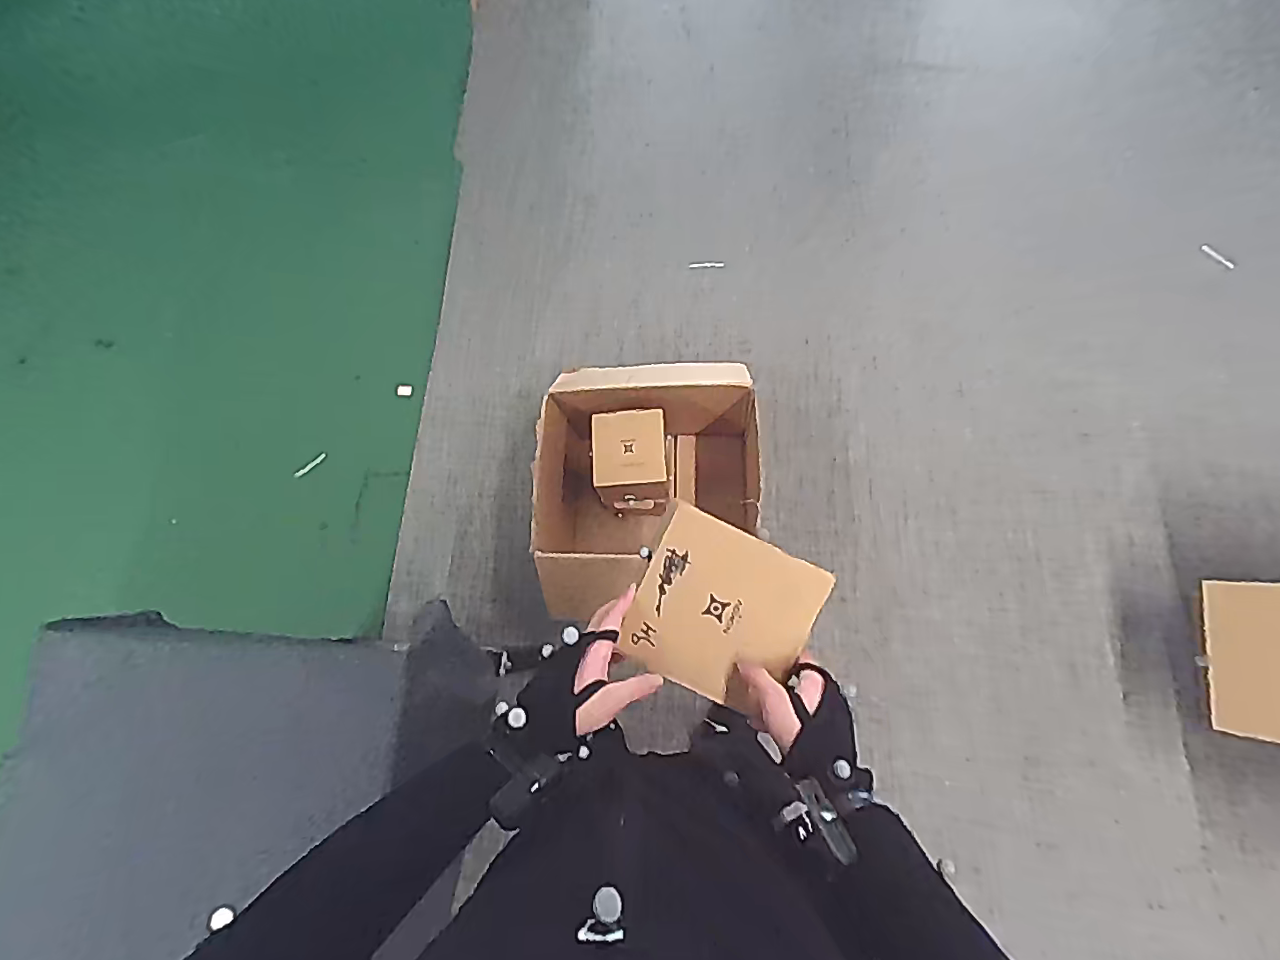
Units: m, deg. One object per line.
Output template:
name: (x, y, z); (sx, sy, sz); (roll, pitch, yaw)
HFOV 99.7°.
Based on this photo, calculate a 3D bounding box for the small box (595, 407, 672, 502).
small box: (-0.012, -0.056, 1.280); (0.168, 0.176, 0.179); (-5, 74, 4)

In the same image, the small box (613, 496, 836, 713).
small box: (0.085, 0.125, 0.618); (0.179, 0.176, 0.168); (26, 89, 1)
